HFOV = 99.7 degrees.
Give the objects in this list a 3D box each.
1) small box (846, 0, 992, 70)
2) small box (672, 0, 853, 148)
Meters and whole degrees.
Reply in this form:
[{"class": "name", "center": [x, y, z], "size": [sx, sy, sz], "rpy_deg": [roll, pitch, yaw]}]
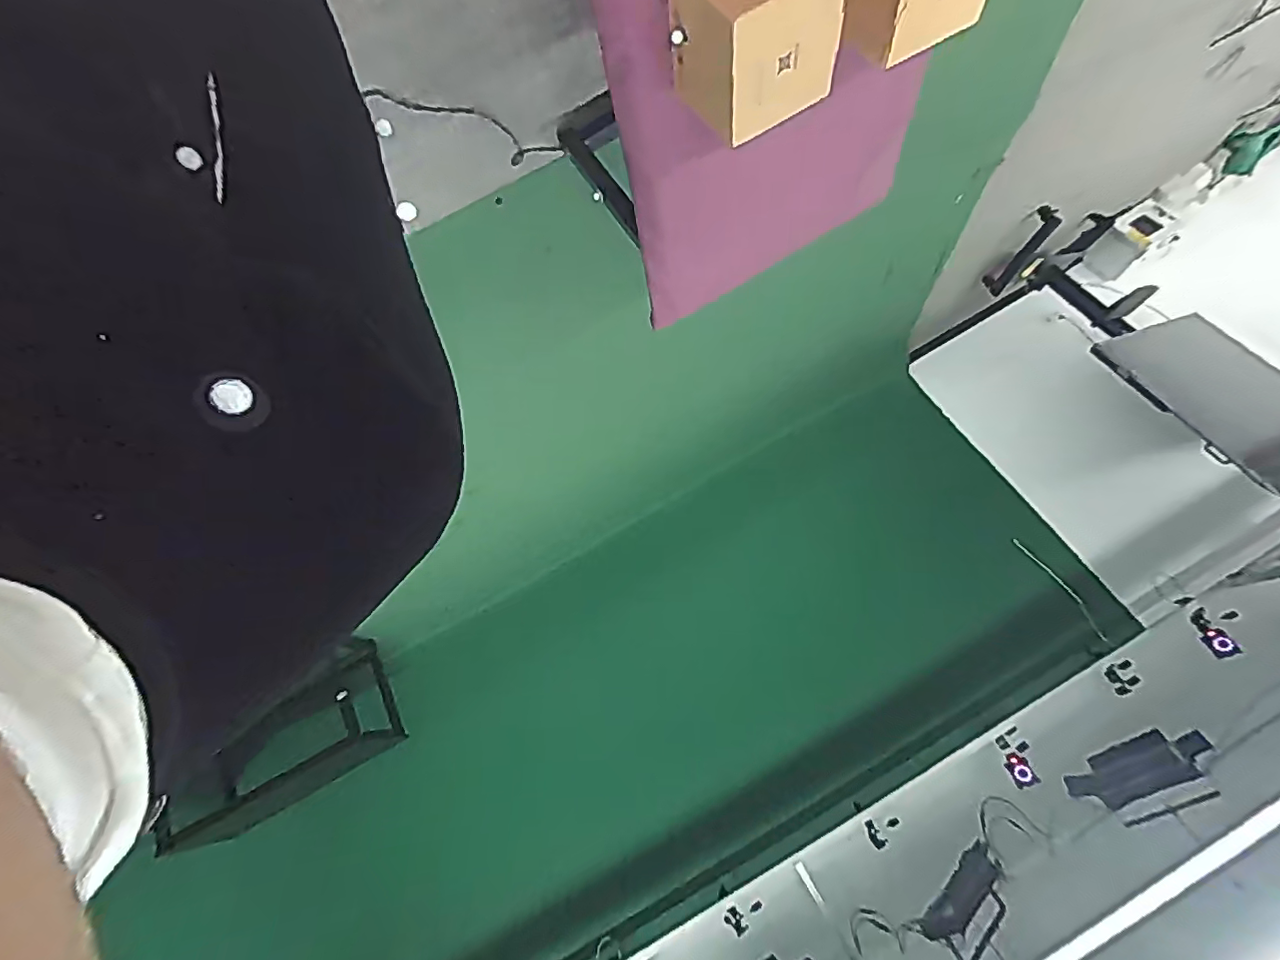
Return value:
[{"class": "small box", "center": [0.402, -0.750, 0.775], "size": [0.179, 0.176, 0.168], "rpy_deg": [-28, 158, -4]}, {"class": "small box", "center": [0.163, -0.617, 0.748], "size": [0.179, 0.176, 0.168], "rpy_deg": [-30, 157, -4]}]
